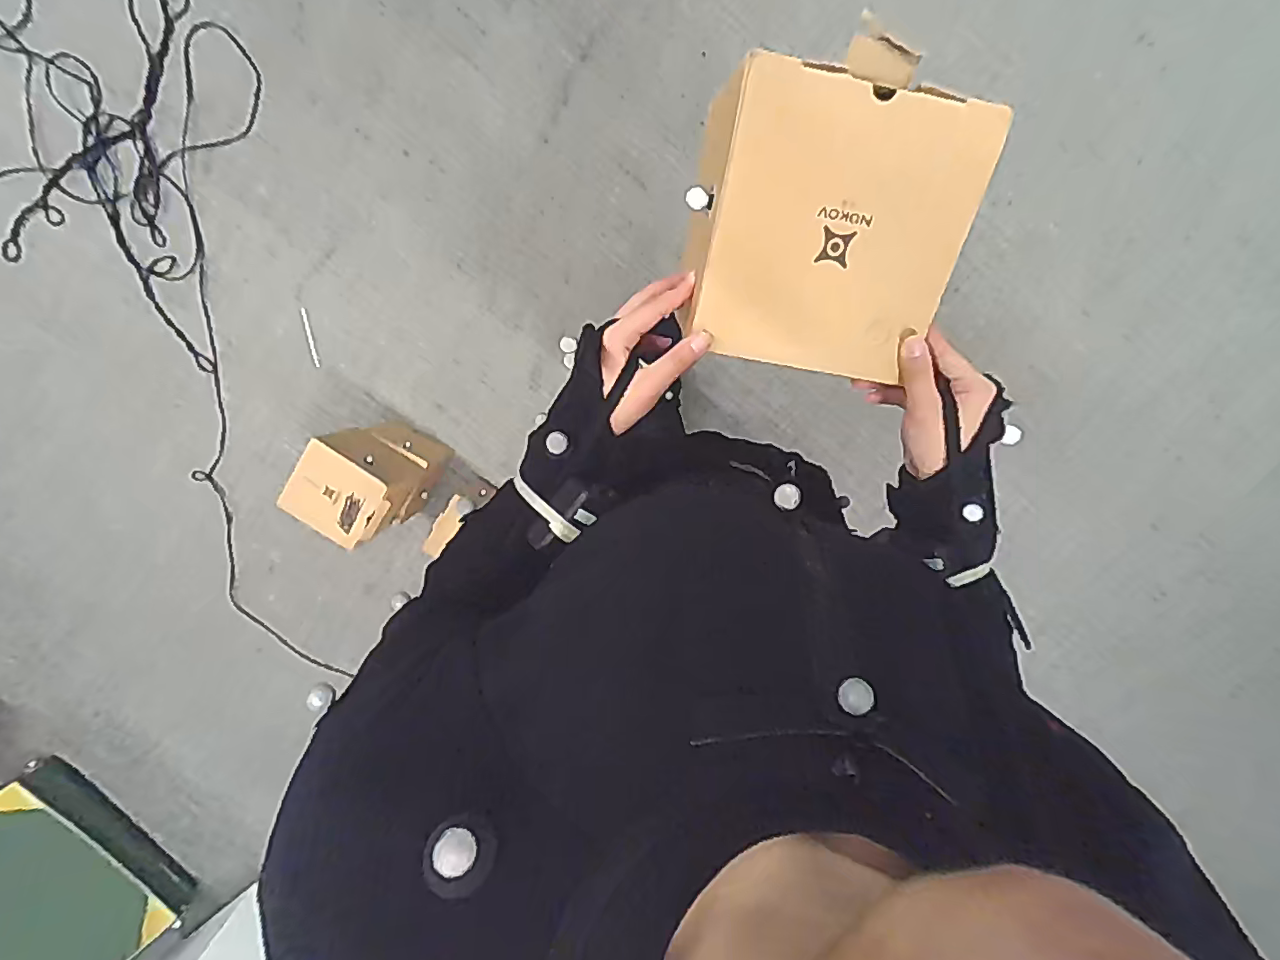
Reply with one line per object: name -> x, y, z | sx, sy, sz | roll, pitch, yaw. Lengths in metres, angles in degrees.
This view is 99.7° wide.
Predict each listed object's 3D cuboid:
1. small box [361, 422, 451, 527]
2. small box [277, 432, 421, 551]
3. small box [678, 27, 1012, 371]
small box -> -0.579, -0.021, 1.292 | 0.168, 0.176, 0.179 | 29, 102, -5
small box -> -0.595, 0.015, 1.132 | 0.179, 0.176, 0.168 | 34, 101, -5
small box -> 0.126, -0.202, 0.419 | 0.168, 0.176, 0.179 | 8, 116, -4
